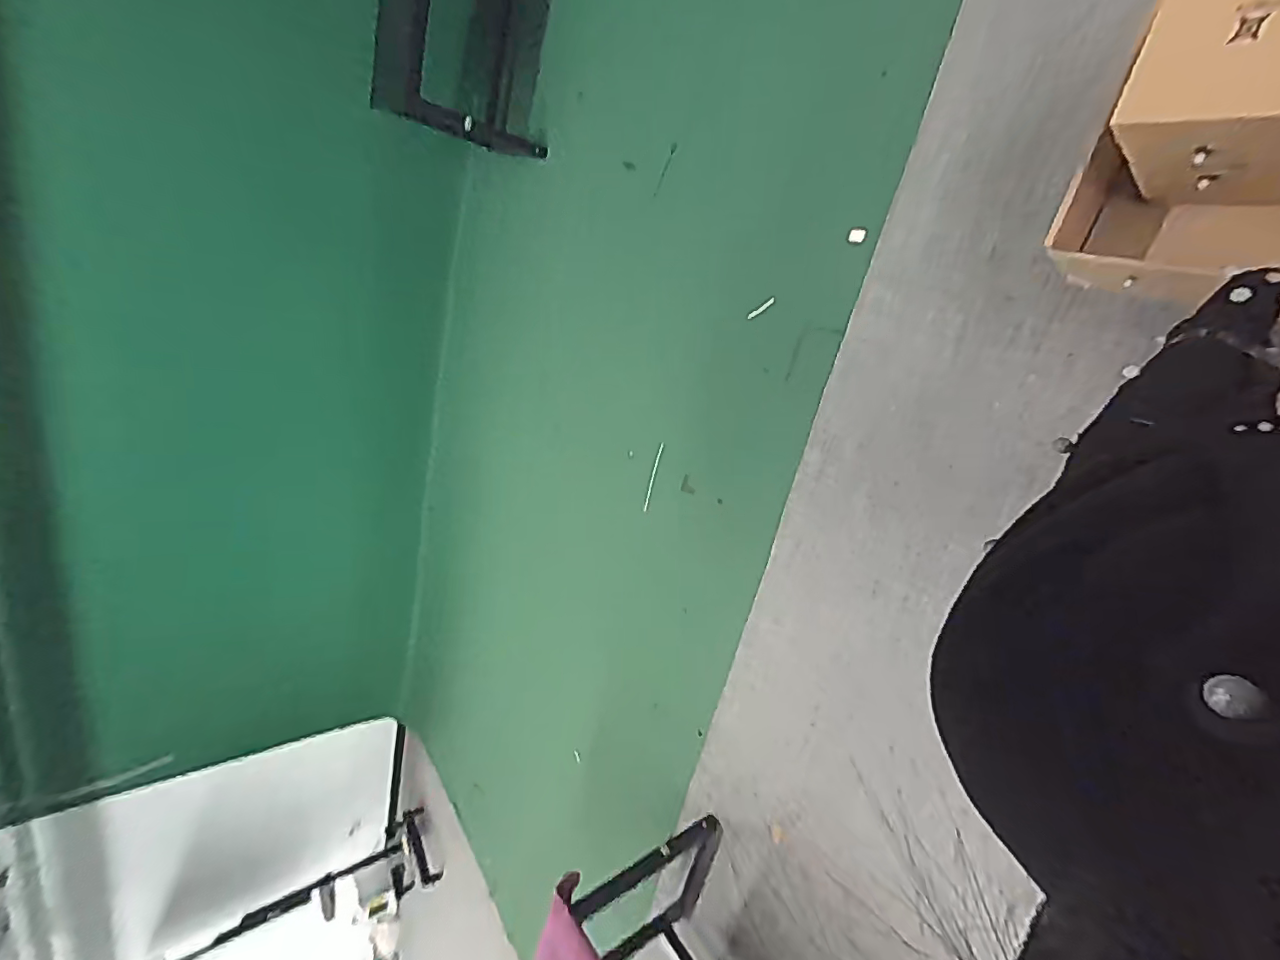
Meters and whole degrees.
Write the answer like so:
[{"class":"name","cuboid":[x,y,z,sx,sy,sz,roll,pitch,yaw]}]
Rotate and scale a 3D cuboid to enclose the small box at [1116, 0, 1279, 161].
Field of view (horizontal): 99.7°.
[{"class":"small box","cuboid":[0.658,-0.453,0.567,0.168,0.176,0.179,34,117,44]}]
